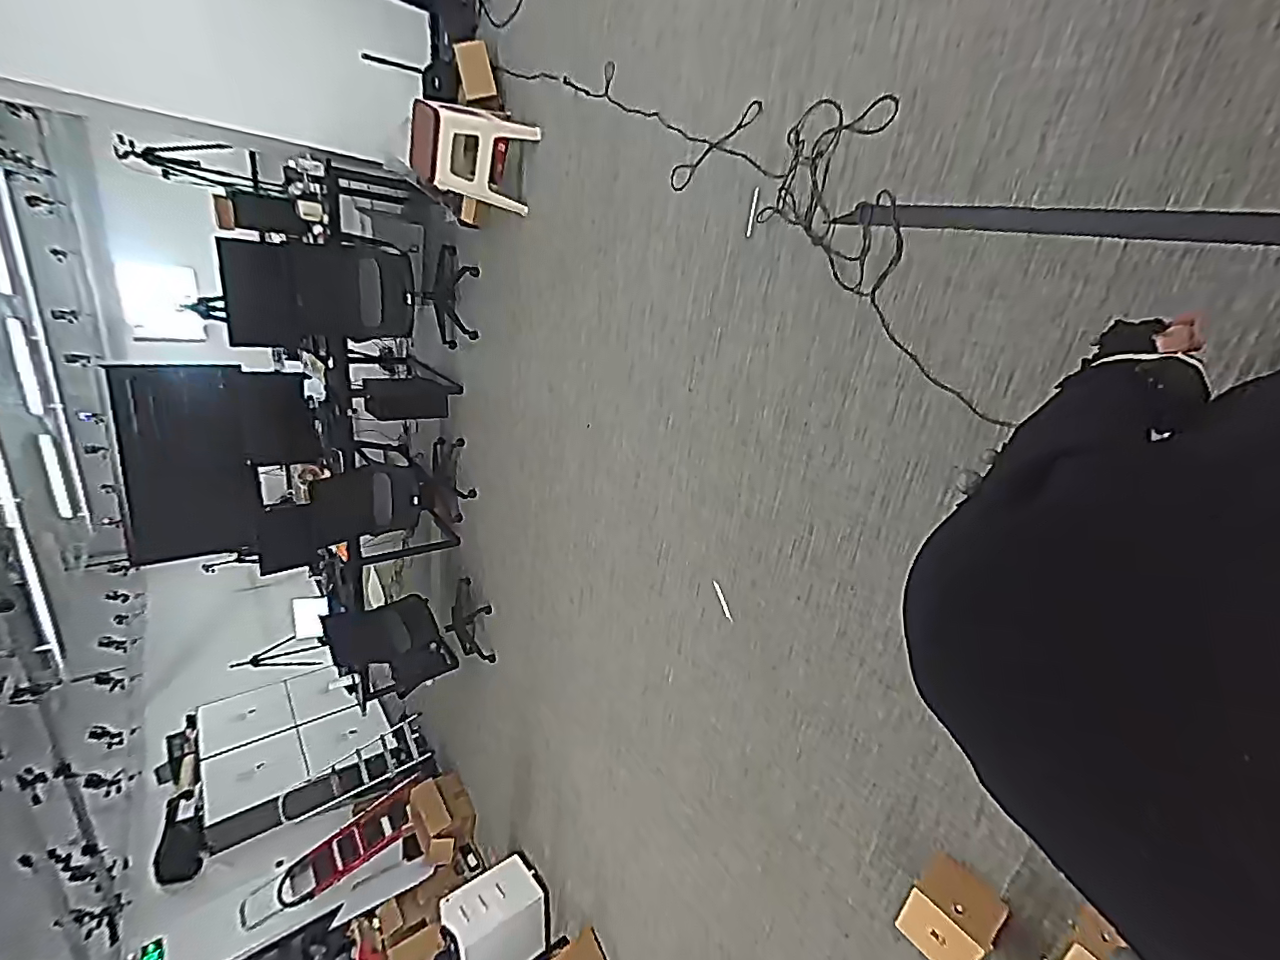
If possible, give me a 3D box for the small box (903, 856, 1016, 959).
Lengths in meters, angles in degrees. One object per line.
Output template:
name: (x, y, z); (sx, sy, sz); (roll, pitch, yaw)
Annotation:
small box: (0.829, 1.126, 1.406); (0.179, 0.176, 0.168); (31, 121, 43)
